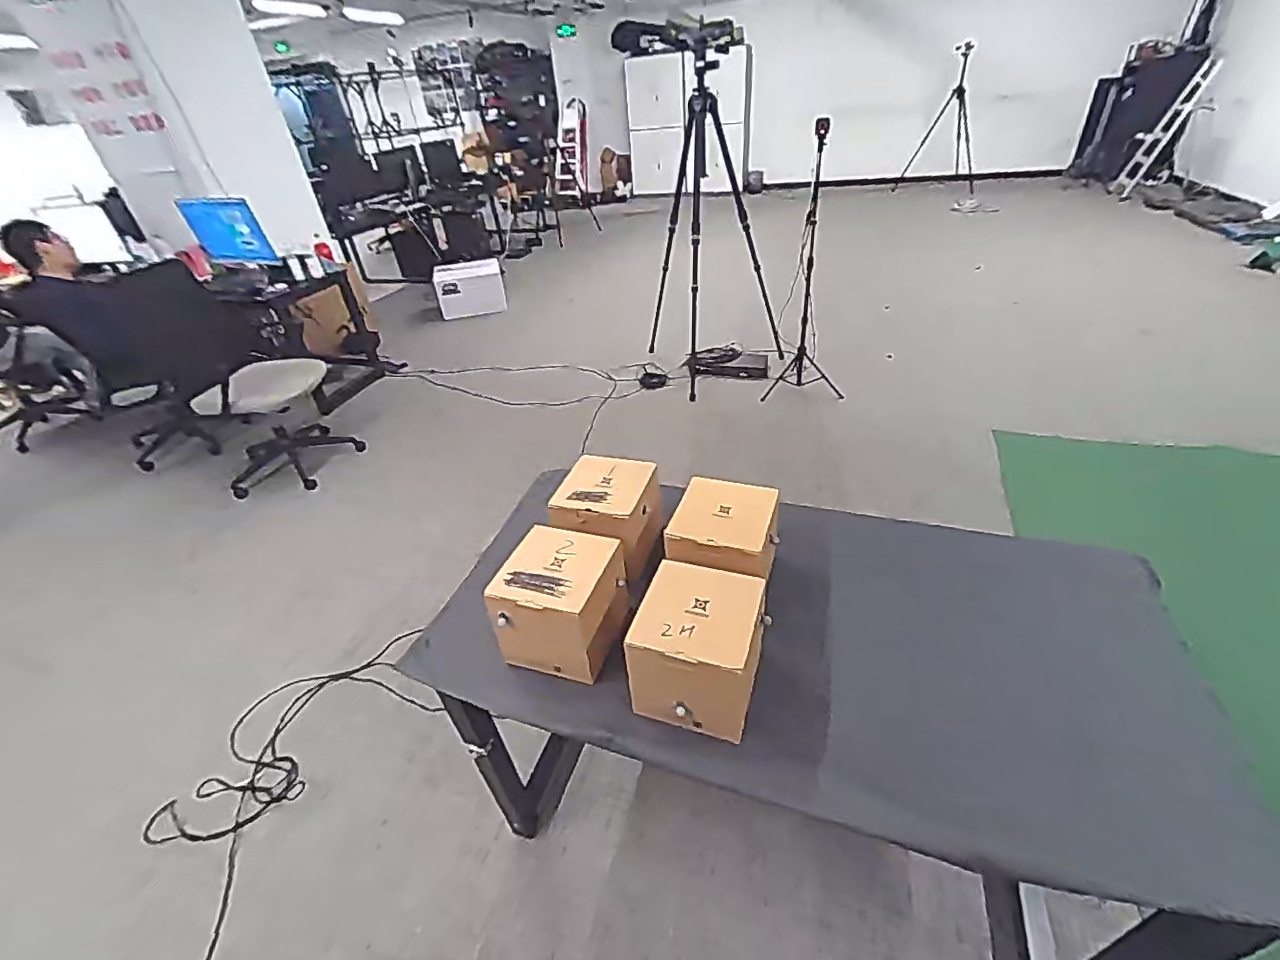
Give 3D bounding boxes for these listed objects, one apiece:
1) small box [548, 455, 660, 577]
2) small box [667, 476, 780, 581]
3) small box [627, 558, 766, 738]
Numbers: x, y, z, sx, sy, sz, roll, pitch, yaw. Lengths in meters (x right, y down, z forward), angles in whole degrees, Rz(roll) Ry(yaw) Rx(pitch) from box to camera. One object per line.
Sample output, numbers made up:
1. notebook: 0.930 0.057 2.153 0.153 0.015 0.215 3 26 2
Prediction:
1. small box: -0.061 0.071 1.092 0.168 0.176 0.179 7 37 17
2. small box: 0.154 0.120 0.999 0.168 0.176 0.179 10 40 19
3. small box: 0.090 0.250 0.821 0.168 0.176 0.179 8 37 19
